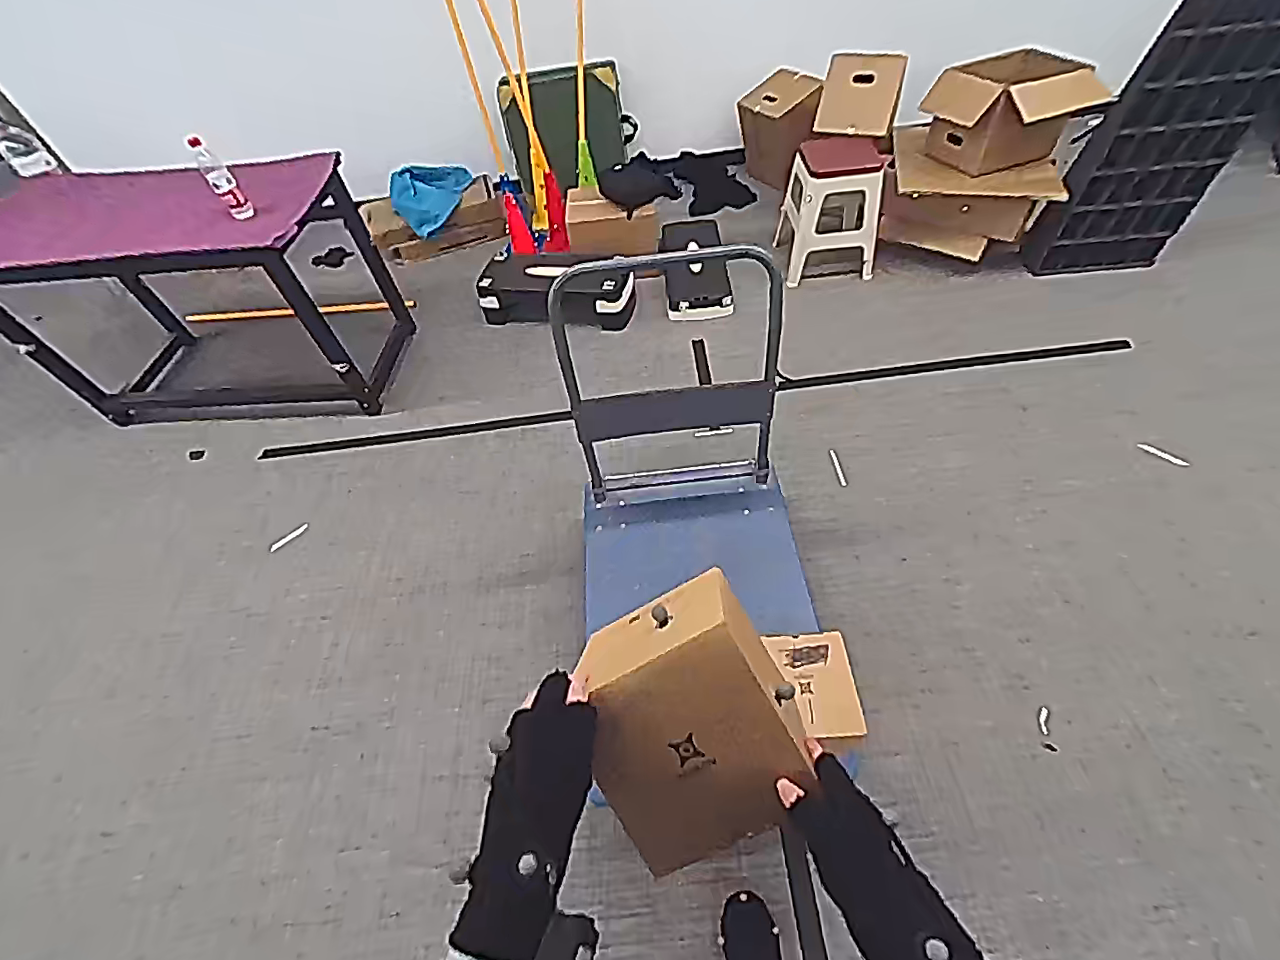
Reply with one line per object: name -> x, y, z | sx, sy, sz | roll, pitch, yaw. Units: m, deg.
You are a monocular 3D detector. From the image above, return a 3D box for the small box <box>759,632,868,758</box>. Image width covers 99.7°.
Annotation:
small box -> 0.289, 0.396, 0.986 | 0.168, 0.176, 0.179 | -4, 53, 2

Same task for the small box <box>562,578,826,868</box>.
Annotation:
small box -> 0.049, 0.214, 0.530 | 0.168, 0.176, 0.179 | -30, 93, 8
